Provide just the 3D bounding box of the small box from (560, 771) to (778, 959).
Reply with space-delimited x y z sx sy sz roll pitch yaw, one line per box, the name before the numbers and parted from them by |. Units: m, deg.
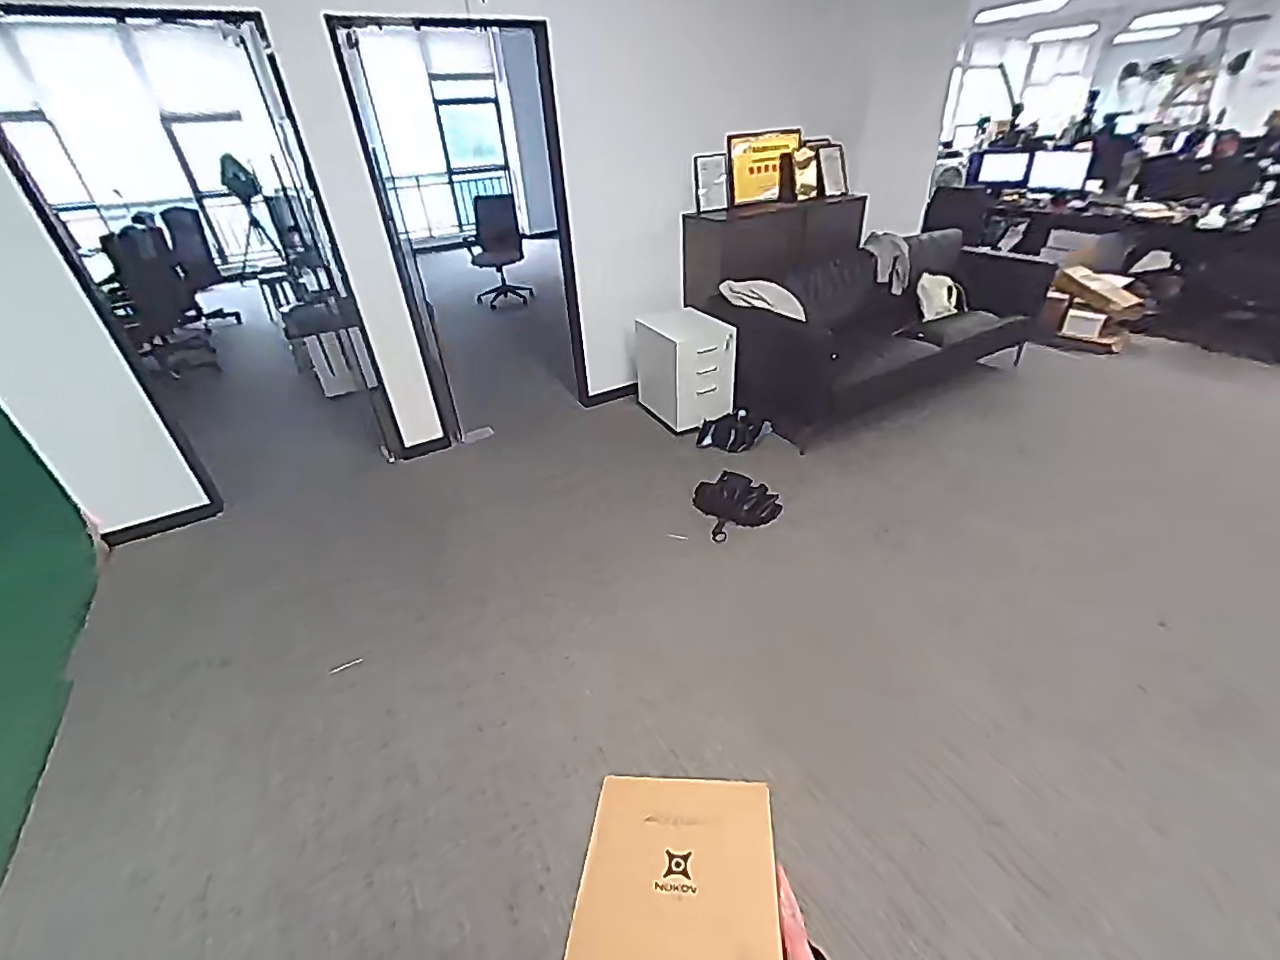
small box | 0.039 0.403 0.492 0.168 0.176 0.179 -1 21 9
